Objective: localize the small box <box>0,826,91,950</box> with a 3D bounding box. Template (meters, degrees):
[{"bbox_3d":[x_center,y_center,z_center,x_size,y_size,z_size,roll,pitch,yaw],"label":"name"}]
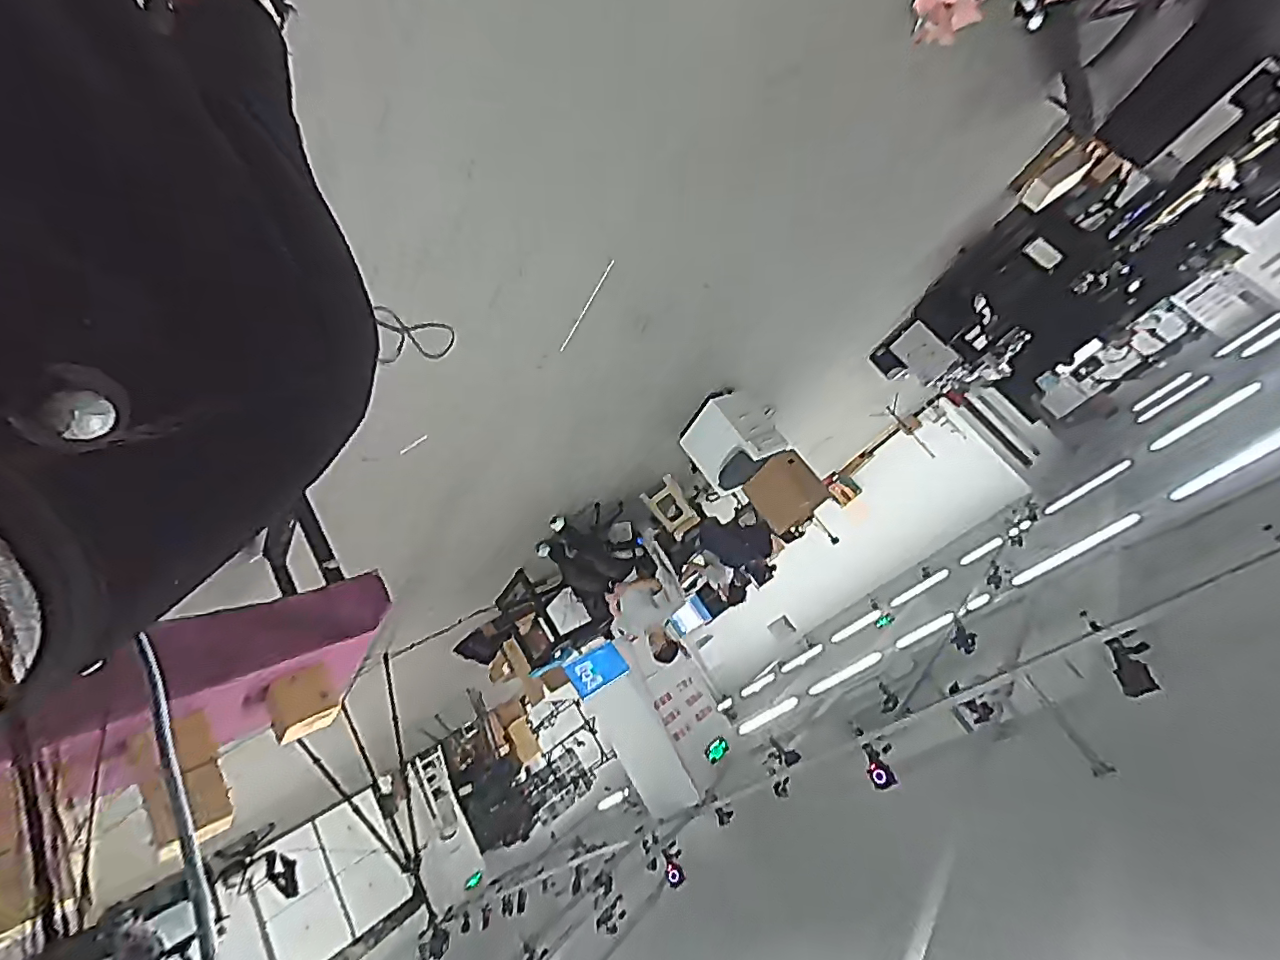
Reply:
[{"bbox_3d":[-1.475,0.987,1.307,0.179,0.176,0.168,-15,153,-47],"label":"small box"}]

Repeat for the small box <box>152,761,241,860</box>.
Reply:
[{"bbox_3d":[-1.278,0.941,1.554,0.168,0.176,0.179,-12,151,-47],"label":"small box"}]

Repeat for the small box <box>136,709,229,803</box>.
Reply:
[{"bbox_3d":[-1.363,0.814,1.611,0.179,0.176,0.168,-12,150,-49],"label":"small box"}]

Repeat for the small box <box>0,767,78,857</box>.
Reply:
[{"bbox_3d":[-1.568,0.862,1.361,0.179,0.176,0.168,-16,153,-46],"label":"small box"}]
